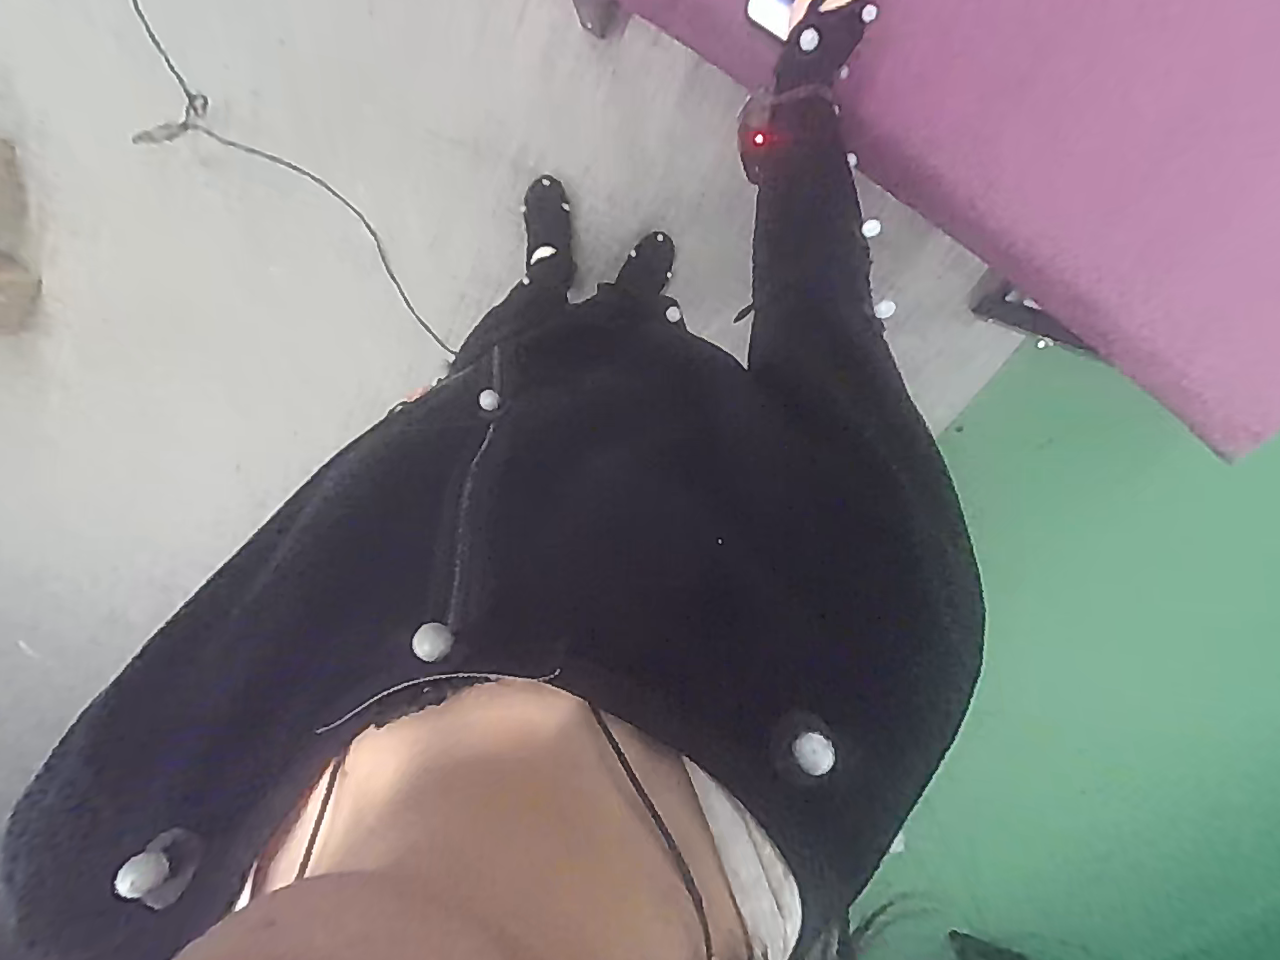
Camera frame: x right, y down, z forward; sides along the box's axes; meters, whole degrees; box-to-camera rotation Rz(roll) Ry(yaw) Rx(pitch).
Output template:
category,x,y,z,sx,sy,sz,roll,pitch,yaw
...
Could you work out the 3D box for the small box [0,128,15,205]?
category,x,y,z,sx,sy,sz,roll,pitch,yaw
small box,-1.514,-0.704,1.159,0.179,0.176,0.168,19,117,-10
